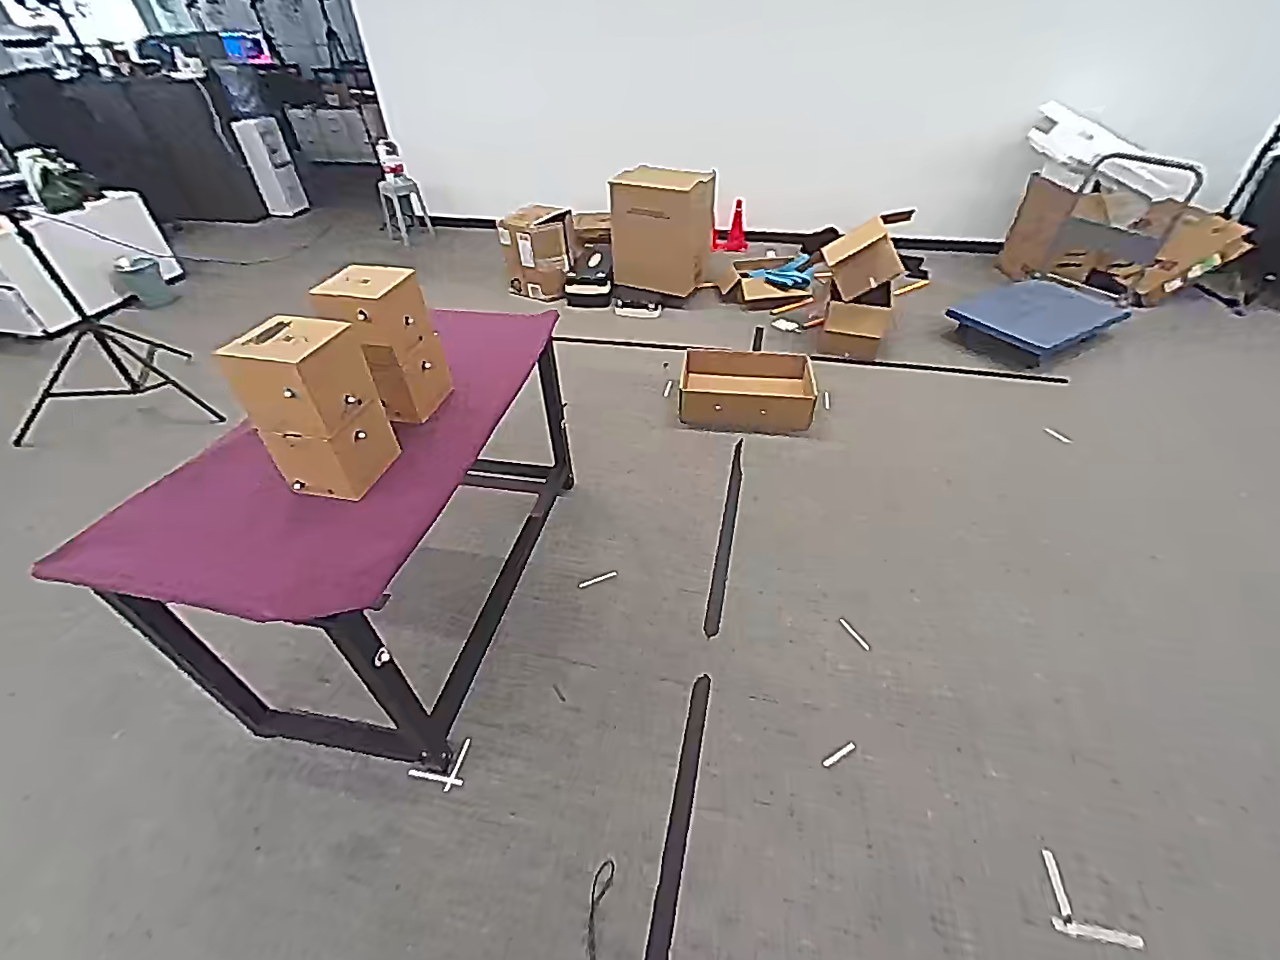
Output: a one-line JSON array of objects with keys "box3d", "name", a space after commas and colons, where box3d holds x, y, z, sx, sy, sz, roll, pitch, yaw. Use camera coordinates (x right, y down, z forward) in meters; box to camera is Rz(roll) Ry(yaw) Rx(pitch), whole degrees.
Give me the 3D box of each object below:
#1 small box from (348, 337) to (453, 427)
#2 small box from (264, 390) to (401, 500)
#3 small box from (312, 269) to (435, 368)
[{"box3d": [-0.604, -0.261, 1.394, 0.168, 0.176, 0.179, 7, 43, 11], "name": "small box"}, {"box3d": [-0.656, -0.076, 1.183, 0.168, 0.176, 0.179, 7, 41, 10], "name": "small box"}, {"box3d": [-0.618, -0.381, 1.282, 0.179, 0.176, 0.168, 7, 42, 11], "name": "small box"}]
